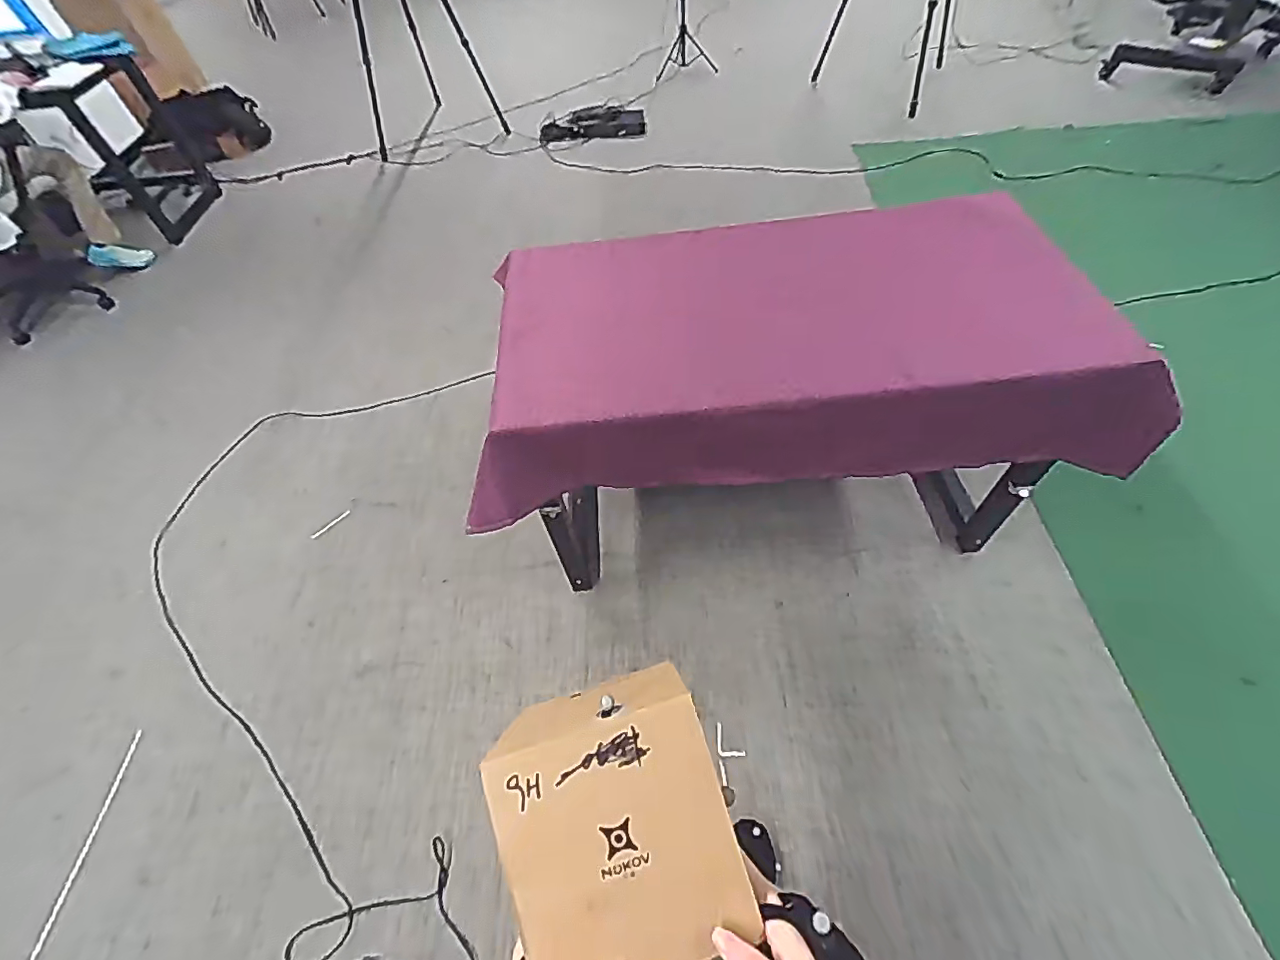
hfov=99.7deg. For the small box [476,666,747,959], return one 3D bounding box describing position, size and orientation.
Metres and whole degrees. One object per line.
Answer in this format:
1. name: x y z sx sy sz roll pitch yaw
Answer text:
1. small box: -0.023 0.285 0.477 0.168 0.176 0.179 -17 81 -5
